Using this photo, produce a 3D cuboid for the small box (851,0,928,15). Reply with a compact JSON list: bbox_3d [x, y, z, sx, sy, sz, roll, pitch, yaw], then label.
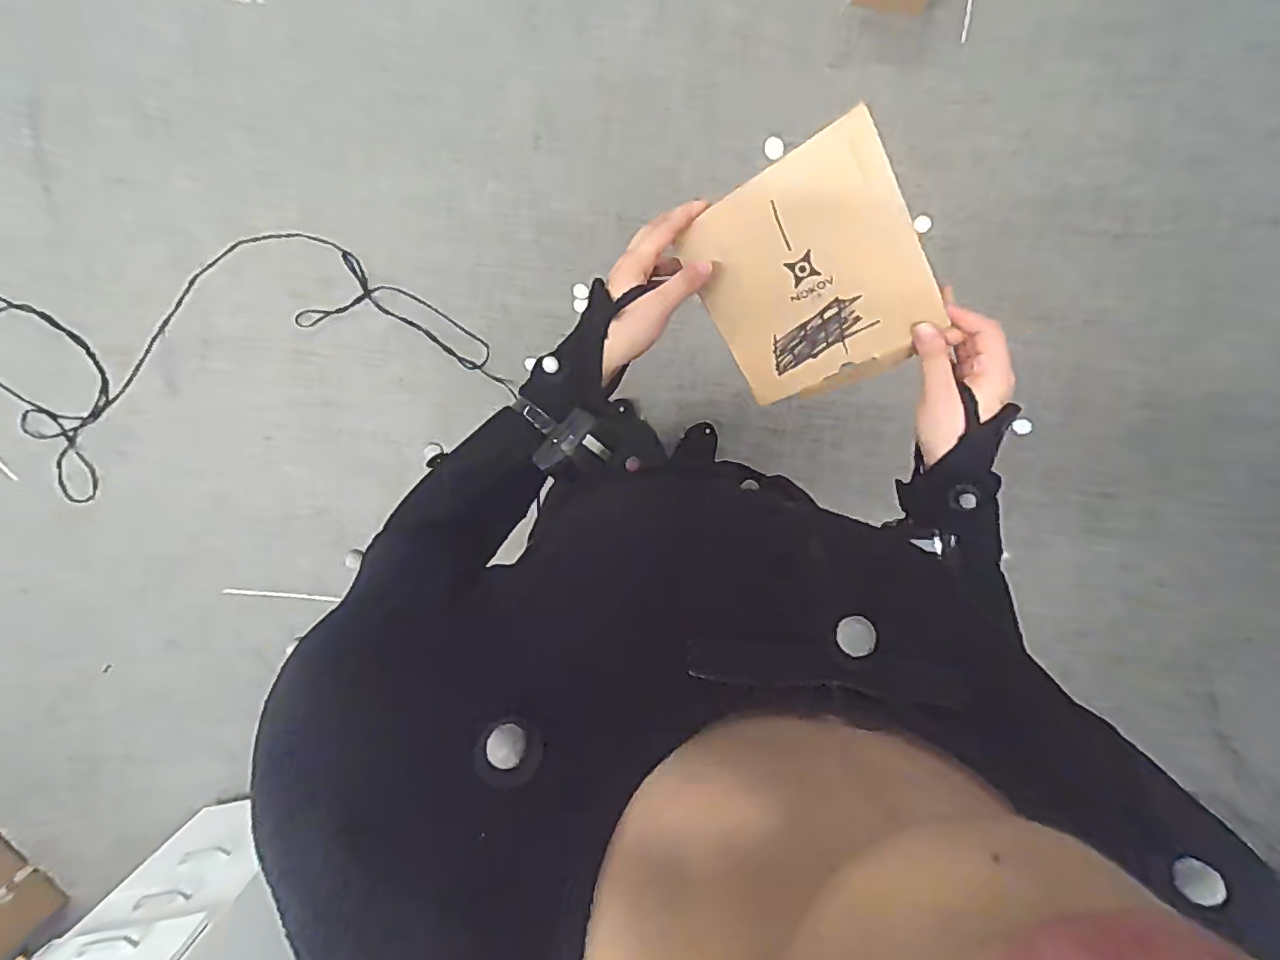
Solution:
[{"bbox_3d":[0.605,-1.201,1.217,0.179,0.176,0.168,11,98,-1],"label":"small box"}]
